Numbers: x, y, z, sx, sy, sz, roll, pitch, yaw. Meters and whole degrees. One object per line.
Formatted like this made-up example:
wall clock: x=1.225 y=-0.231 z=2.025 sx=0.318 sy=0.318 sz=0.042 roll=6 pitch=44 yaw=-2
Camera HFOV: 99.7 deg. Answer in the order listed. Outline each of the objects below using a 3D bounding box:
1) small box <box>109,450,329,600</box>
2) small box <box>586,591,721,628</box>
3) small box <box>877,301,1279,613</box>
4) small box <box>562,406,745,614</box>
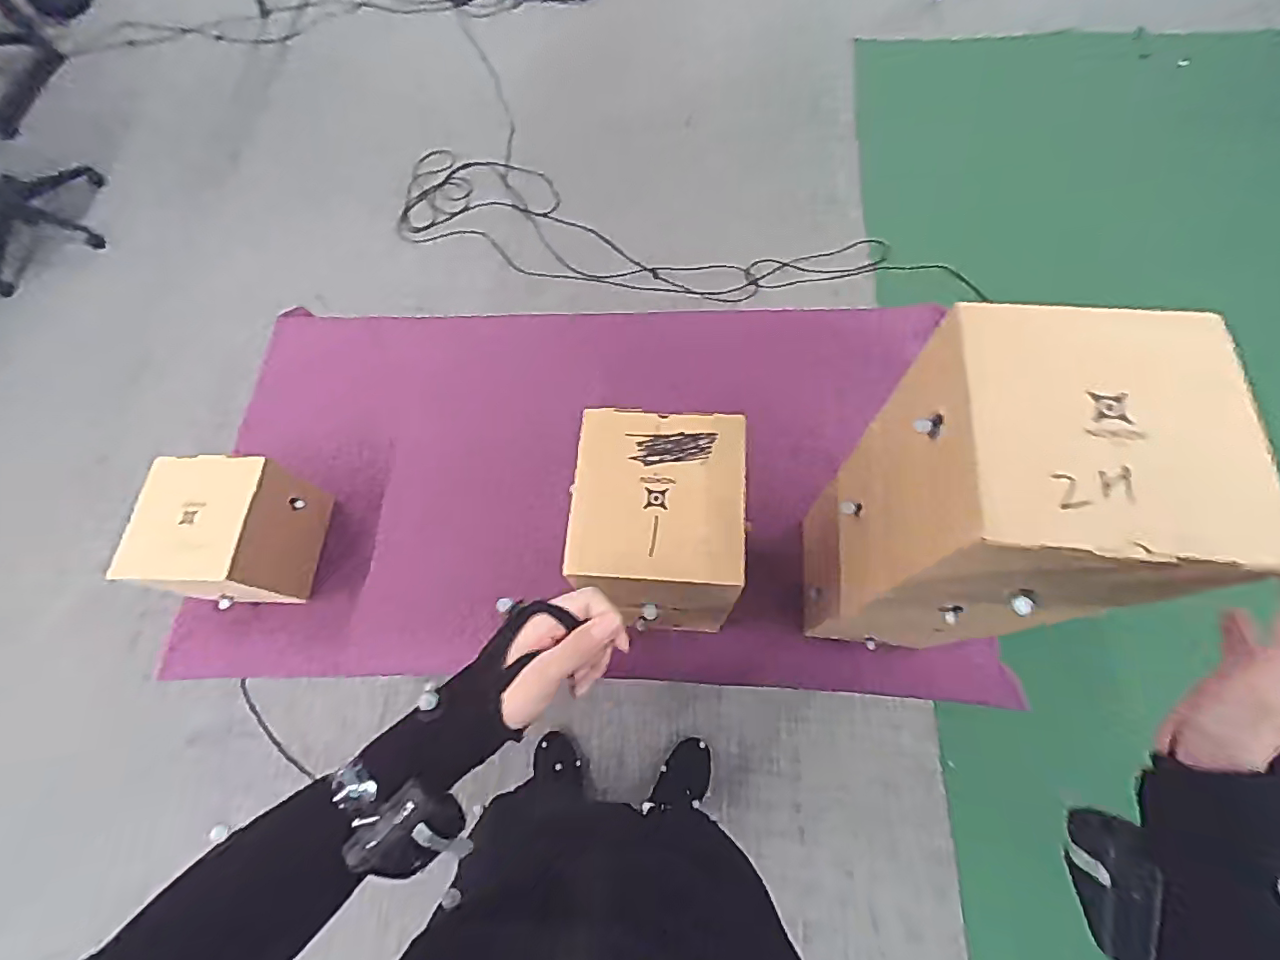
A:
small box: x=-0.594 y=0.070 z=0.794 sx=0.168 sy=0.176 sz=0.179 roll=1 pitch=68 yaw=5
small box: x=0.030 y=0.103 z=0.742 sx=0.168 sy=0.176 sz=0.179 roll=3 pitch=67 yaw=5
small box: x=0.290 y=-0.007 z=0.409 sx=0.168 sy=0.176 sz=0.179 roll=5 pitch=69 yaw=7
small box: x=0.021 y=0.039 z=0.591 sx=0.168 sy=0.176 sz=0.179 roll=3 pitch=68 yaw=6
